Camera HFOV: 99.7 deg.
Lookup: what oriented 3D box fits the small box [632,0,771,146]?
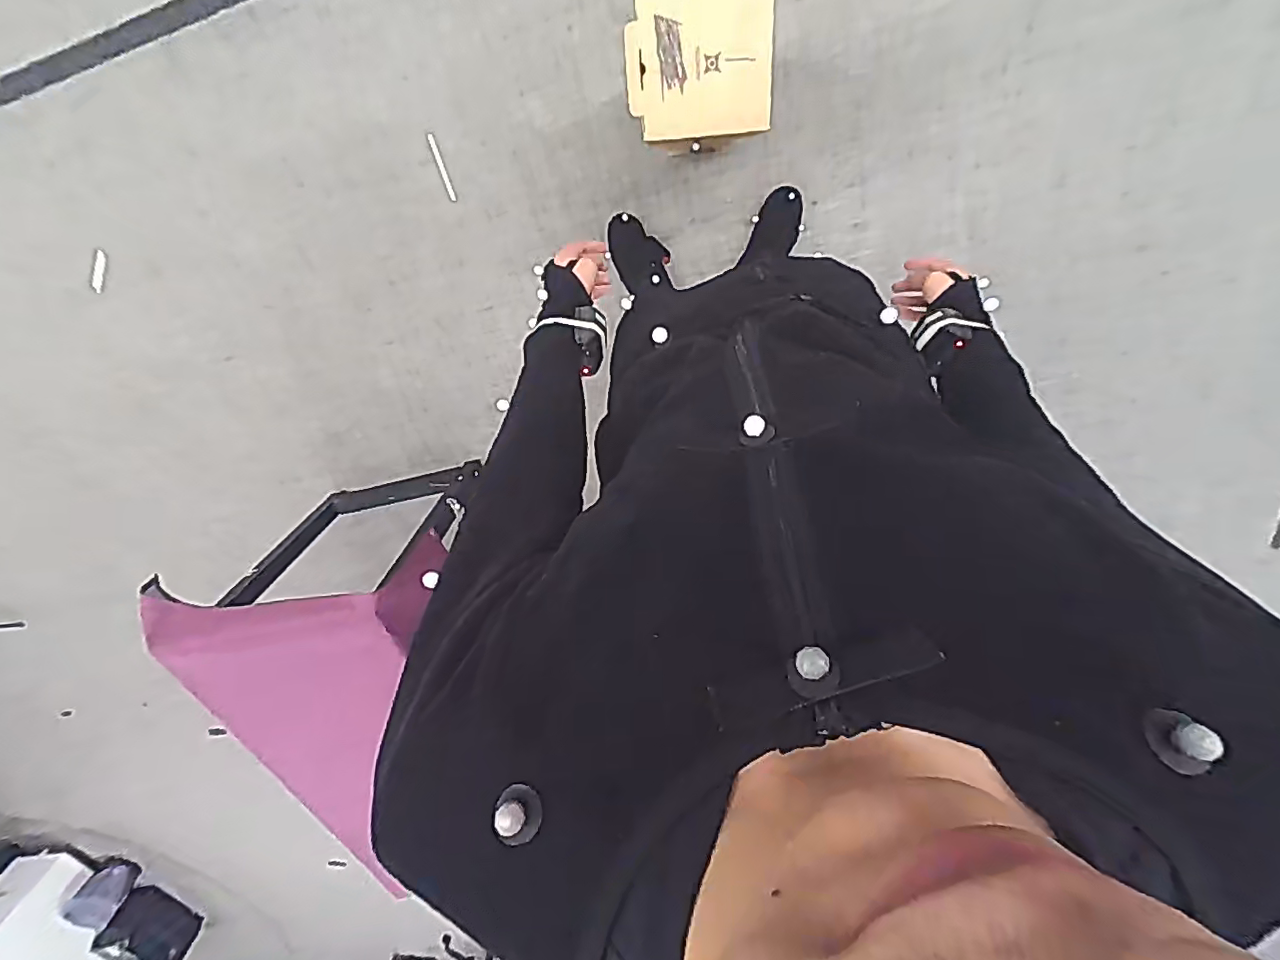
[{"bbox_3d":[0.085,-0.586,0.778,0.179,0.176,0.168,-3,120,4],"label":"small box"}]

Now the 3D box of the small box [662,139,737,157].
[{"bbox_3d":[0.122,-0.835,1.204,0.168,0.176,0.179,-8,119,8],"label":"small box"}]
